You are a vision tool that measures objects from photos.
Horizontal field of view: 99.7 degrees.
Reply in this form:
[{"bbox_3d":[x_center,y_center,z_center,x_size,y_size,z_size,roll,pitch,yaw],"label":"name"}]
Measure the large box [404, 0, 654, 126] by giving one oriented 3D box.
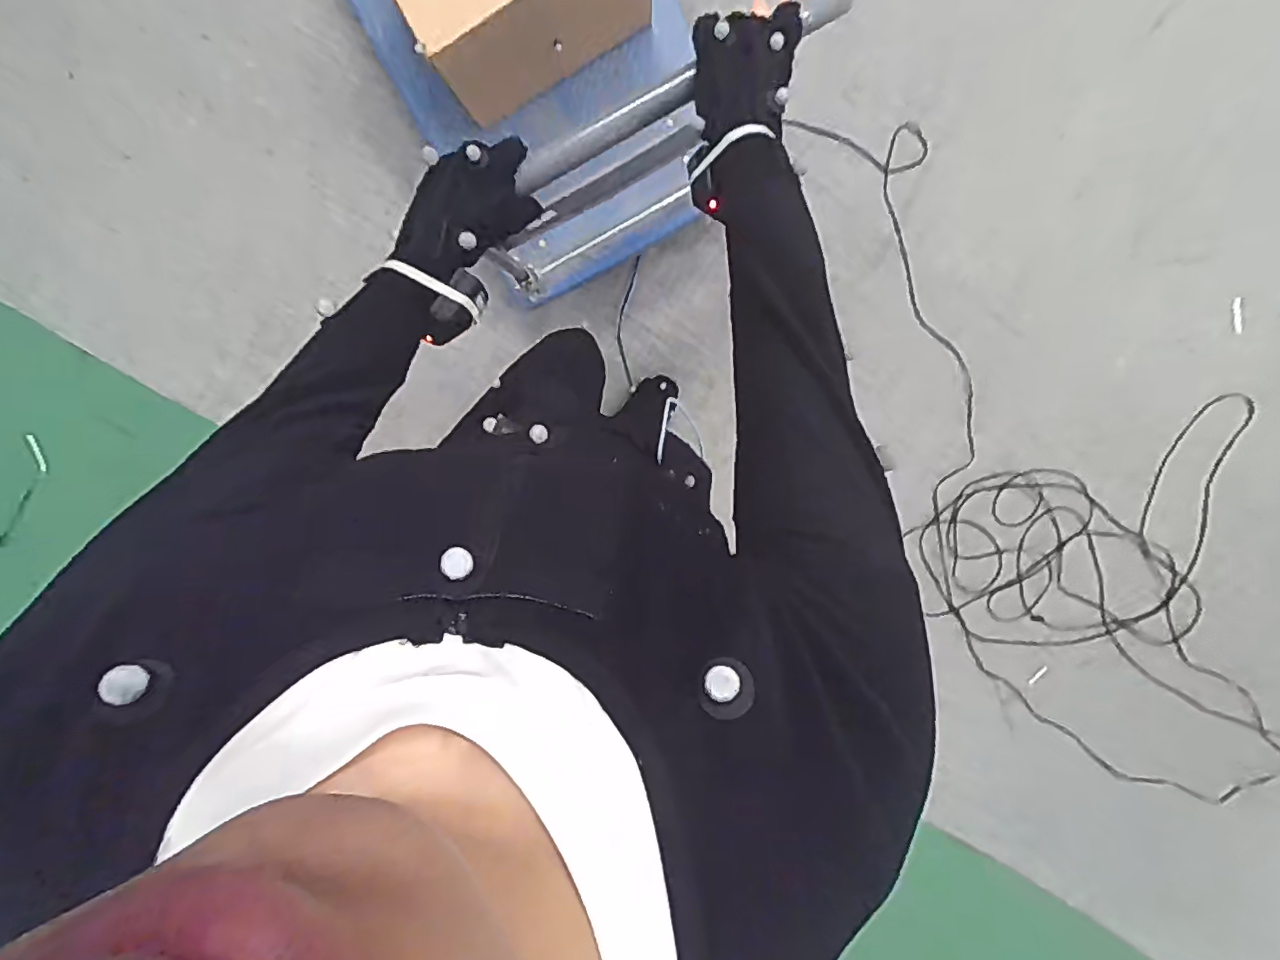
[{"bbox_3d":[-0.215,-0.915,0.926,0.408,0.320,0.320,-29,102,8],"label":"large box"}]
